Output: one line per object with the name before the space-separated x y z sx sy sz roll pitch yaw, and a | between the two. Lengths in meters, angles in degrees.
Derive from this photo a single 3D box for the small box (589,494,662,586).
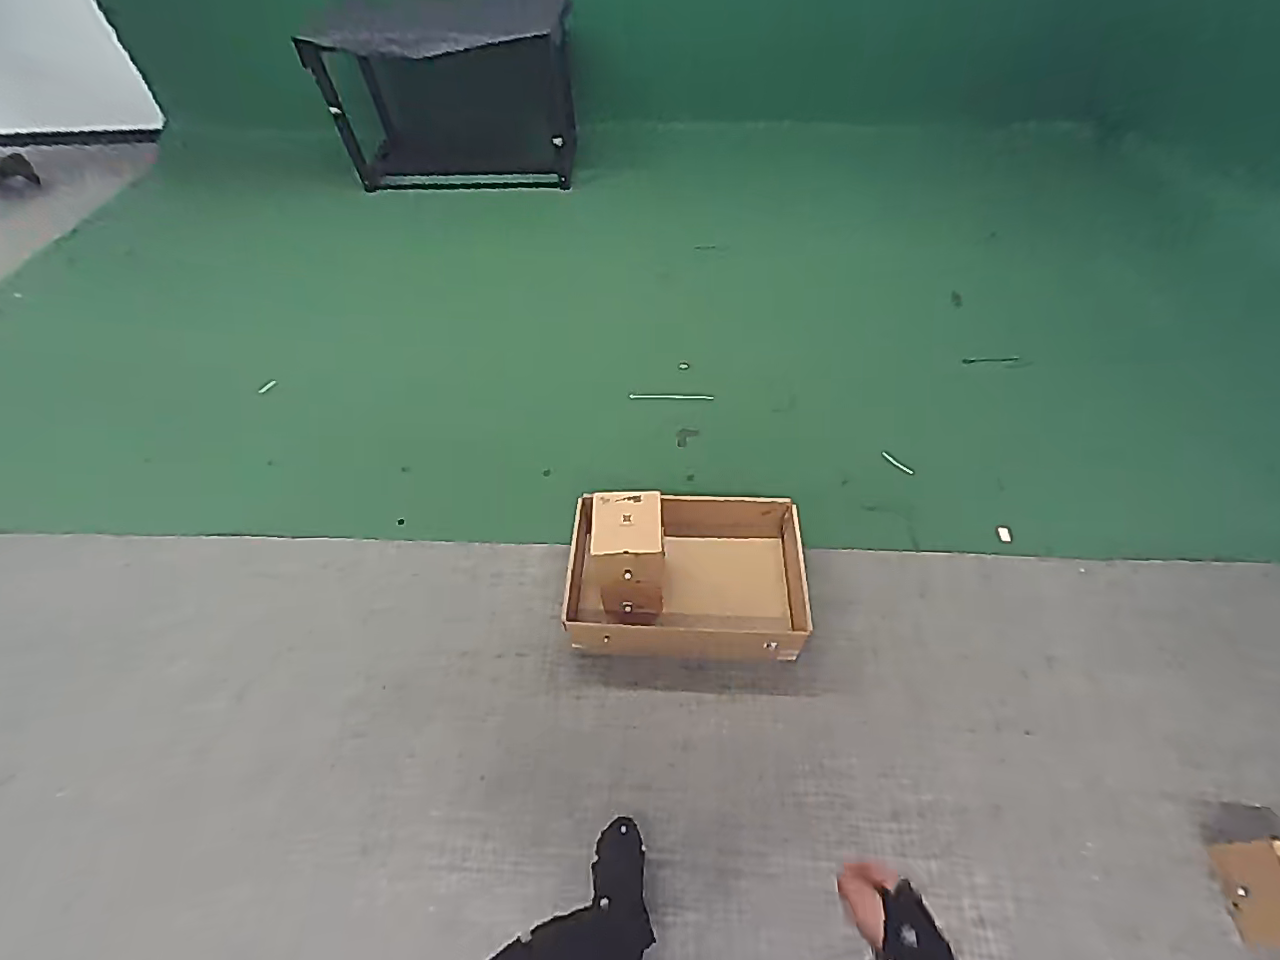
small box | -0.030 0.152 1.332 0.168 0.176 0.179 -1 55 2

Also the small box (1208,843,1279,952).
small box | 1.291 0.820 1.048 0.179 0.176 0.168 5 53 6
